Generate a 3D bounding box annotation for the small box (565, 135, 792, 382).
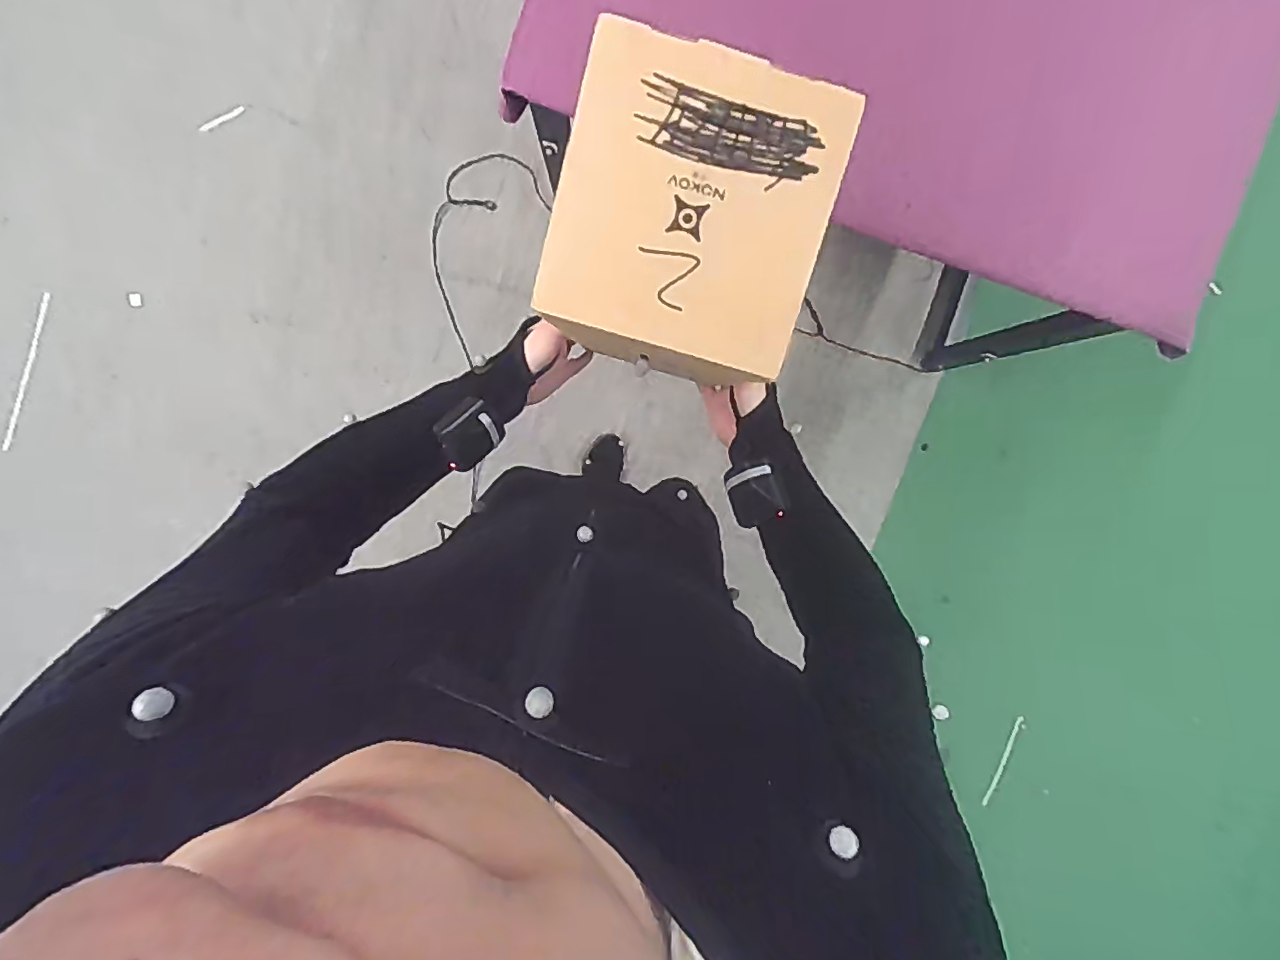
[{"bbox_3d":[0.033,-0.207,0.561,0.168,0.176,0.179,16,99,-3],"label":"small box"}]
